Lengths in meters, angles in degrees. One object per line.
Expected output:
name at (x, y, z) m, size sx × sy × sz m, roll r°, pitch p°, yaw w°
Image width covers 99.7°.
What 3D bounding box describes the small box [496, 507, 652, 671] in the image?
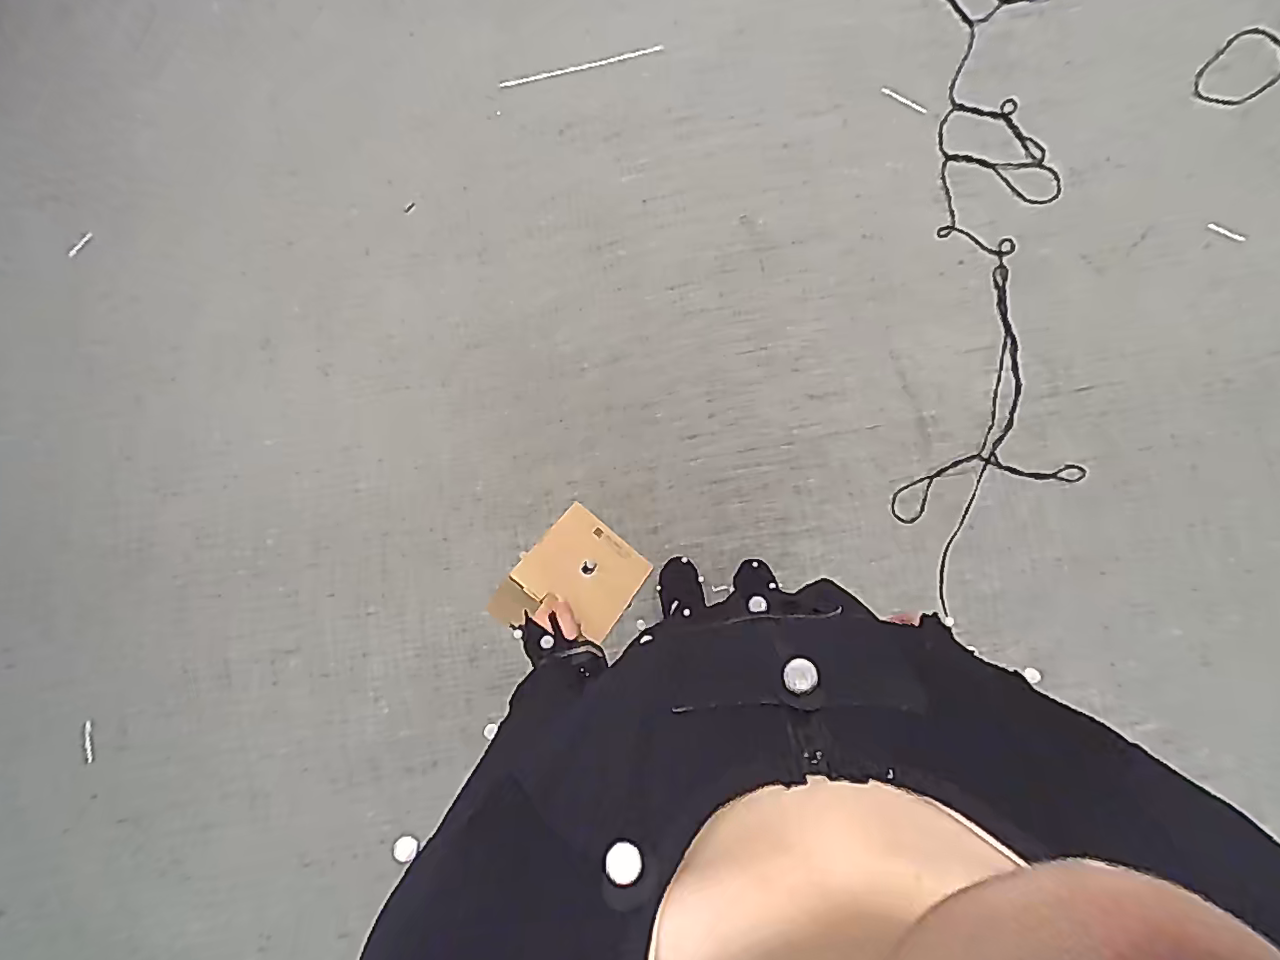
small box at (-0.102, 0.173, 0.872) m, size 0.168 × 0.179 × 0.176 m, roll 38°, pitch 52°, yaw 0°
